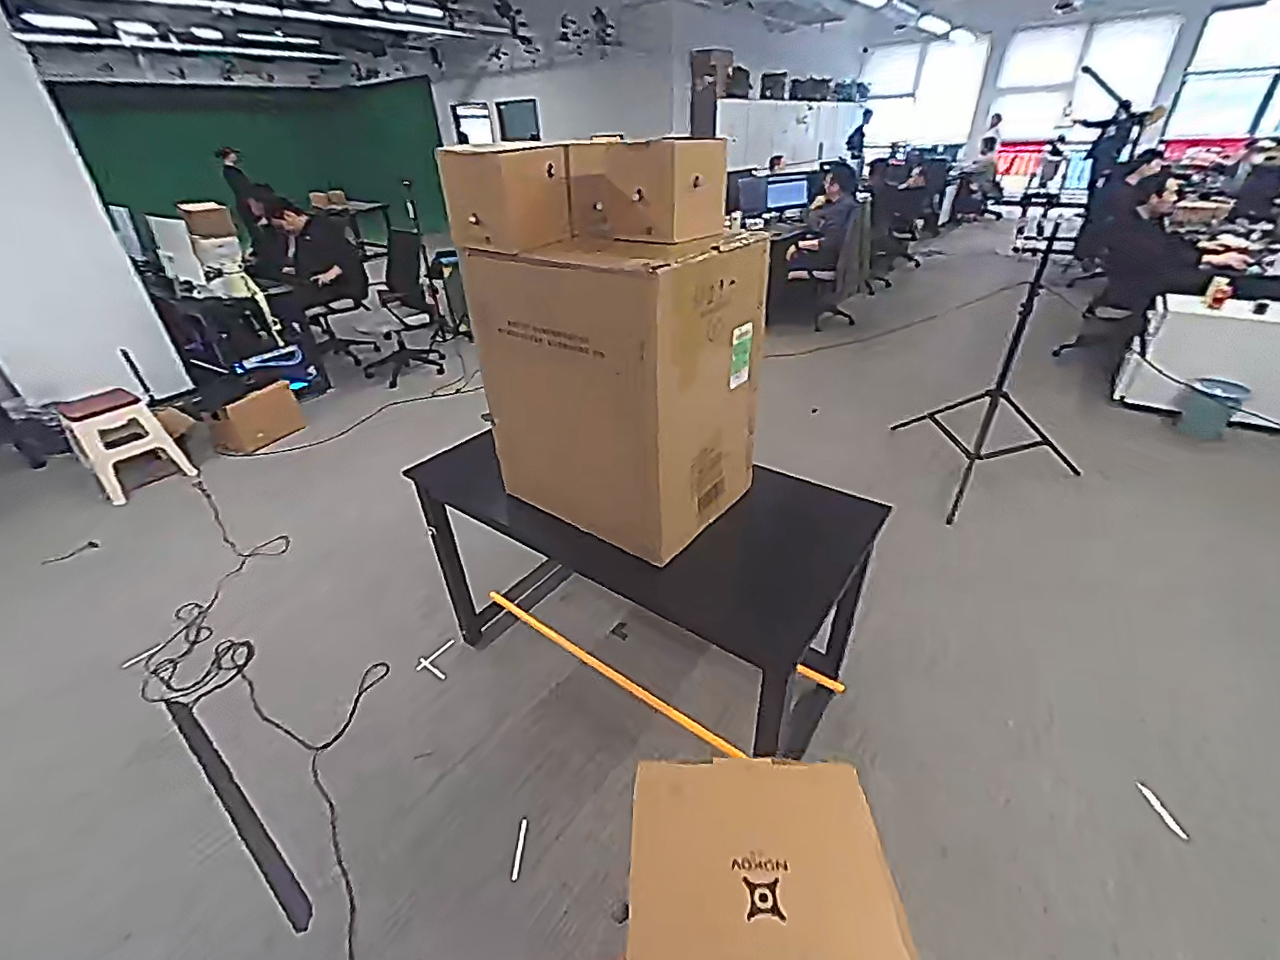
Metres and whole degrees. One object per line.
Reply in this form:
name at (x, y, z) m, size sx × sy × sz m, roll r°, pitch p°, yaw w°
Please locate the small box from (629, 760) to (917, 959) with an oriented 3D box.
small box at (0.077, 0.327, 0.371) m, size 0.168 × 0.176 × 0.179 m, roll 0°, pitch 28°, yaw 2°
